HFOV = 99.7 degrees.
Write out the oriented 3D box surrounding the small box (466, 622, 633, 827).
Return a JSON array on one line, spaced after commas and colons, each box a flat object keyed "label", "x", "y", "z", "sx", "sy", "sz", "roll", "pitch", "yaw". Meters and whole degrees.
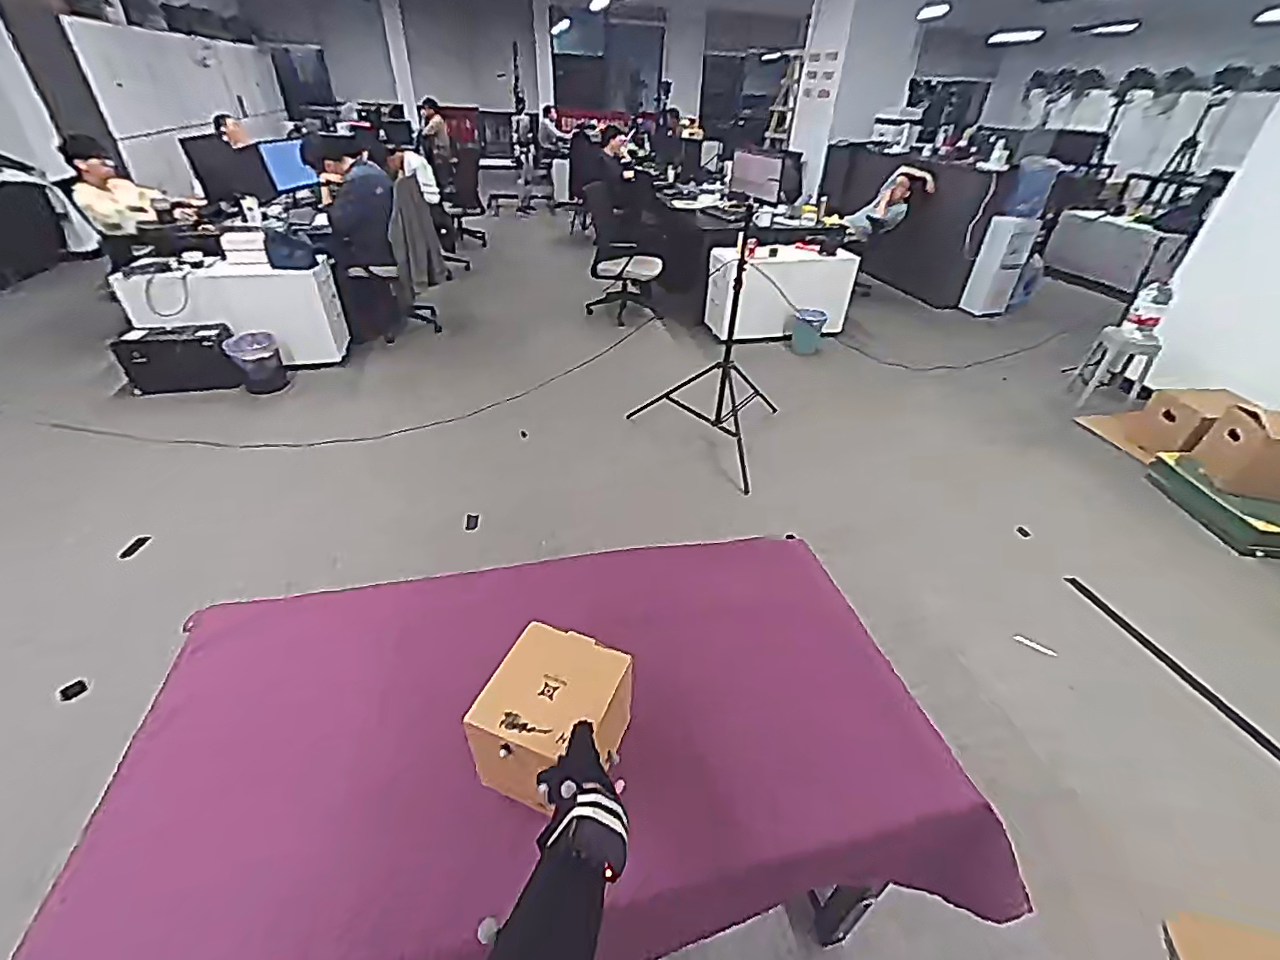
[{"label": "small box", "x": -0.121, "y": 0.342, "z": 0.768, "sx": 0.168, "sy": 0.176, "sz": 0.179, "roll": 14, "pitch": 36, "yaw": 16}]
